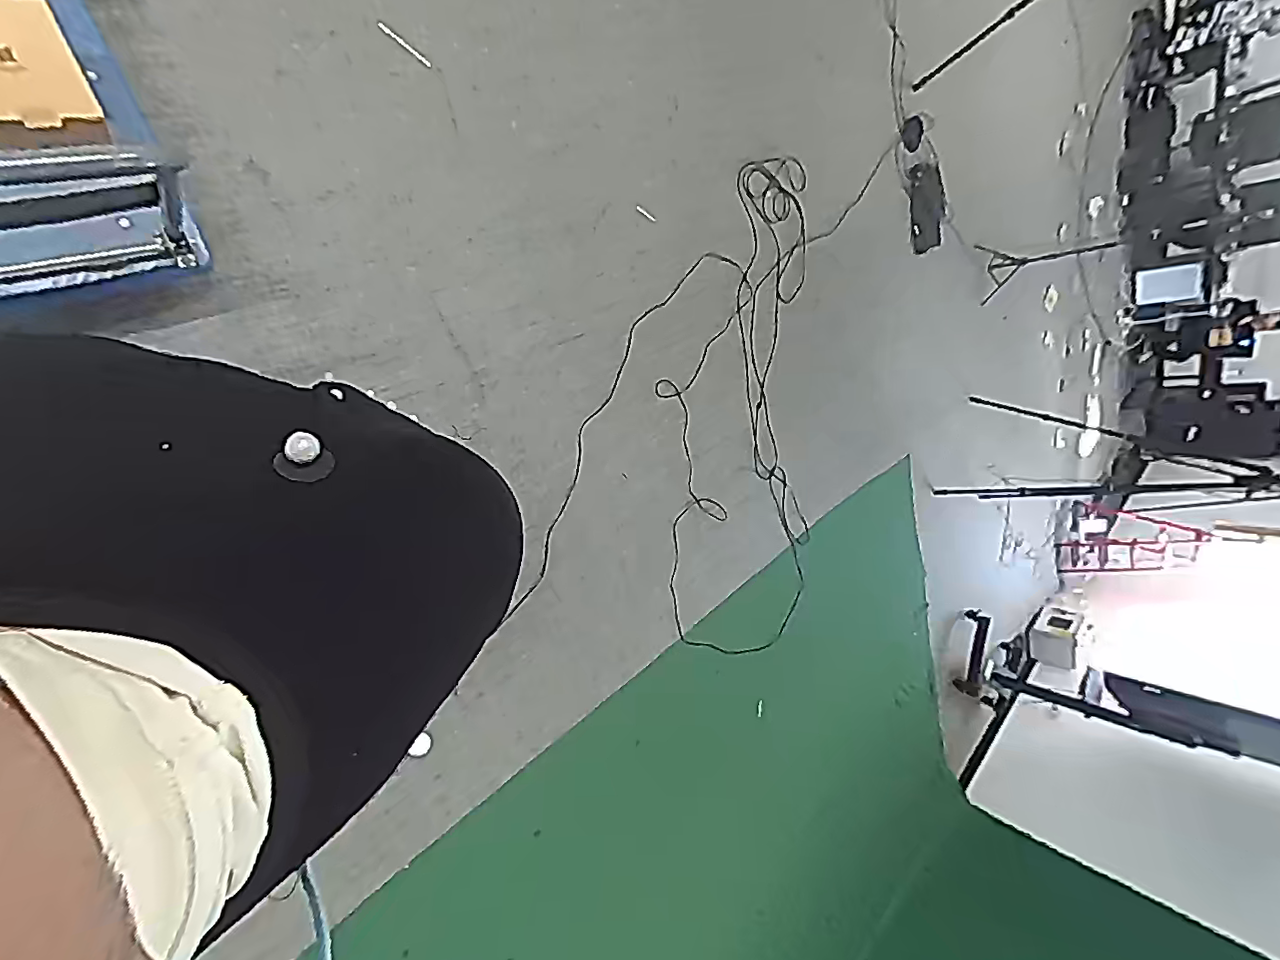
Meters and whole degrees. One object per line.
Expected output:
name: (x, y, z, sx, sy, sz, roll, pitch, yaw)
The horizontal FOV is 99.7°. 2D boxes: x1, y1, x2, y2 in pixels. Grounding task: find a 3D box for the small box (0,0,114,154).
small box: (-1.026, -0.669, 0.892, 0.168, 0.176, 0.179, -29, 114, -32)
